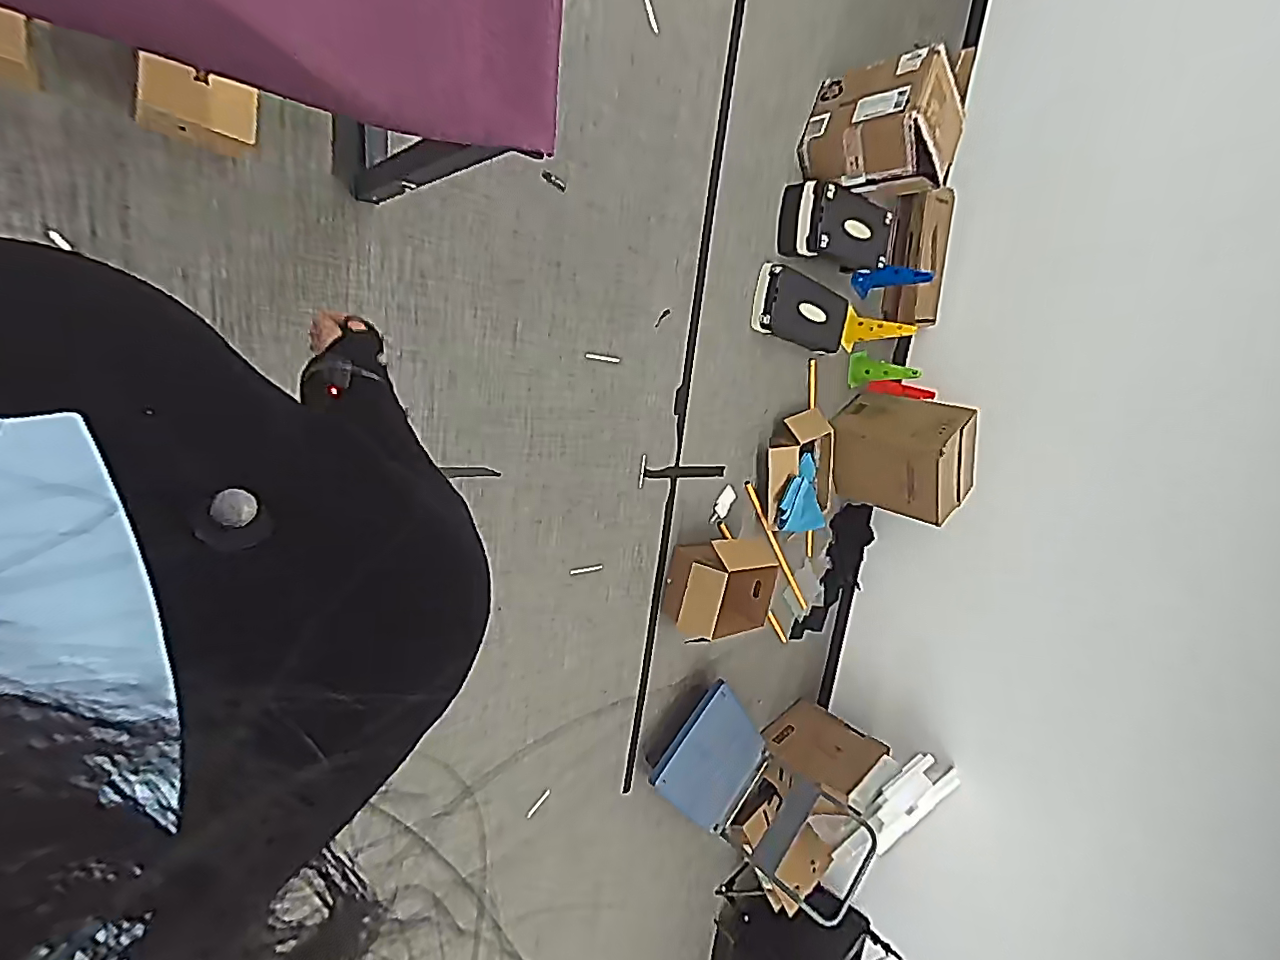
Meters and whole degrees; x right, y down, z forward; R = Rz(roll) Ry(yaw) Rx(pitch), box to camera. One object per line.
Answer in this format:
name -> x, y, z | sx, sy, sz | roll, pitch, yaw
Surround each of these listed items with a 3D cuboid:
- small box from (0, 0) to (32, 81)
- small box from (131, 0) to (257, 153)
small box -> -1.037, -0.738, 0.803 | 0.168, 0.176, 0.179 | -3, 105, -44
small box -> -0.831, -0.742, 1.006 | 0.168, 0.176, 0.179 | 1, 102, -44
